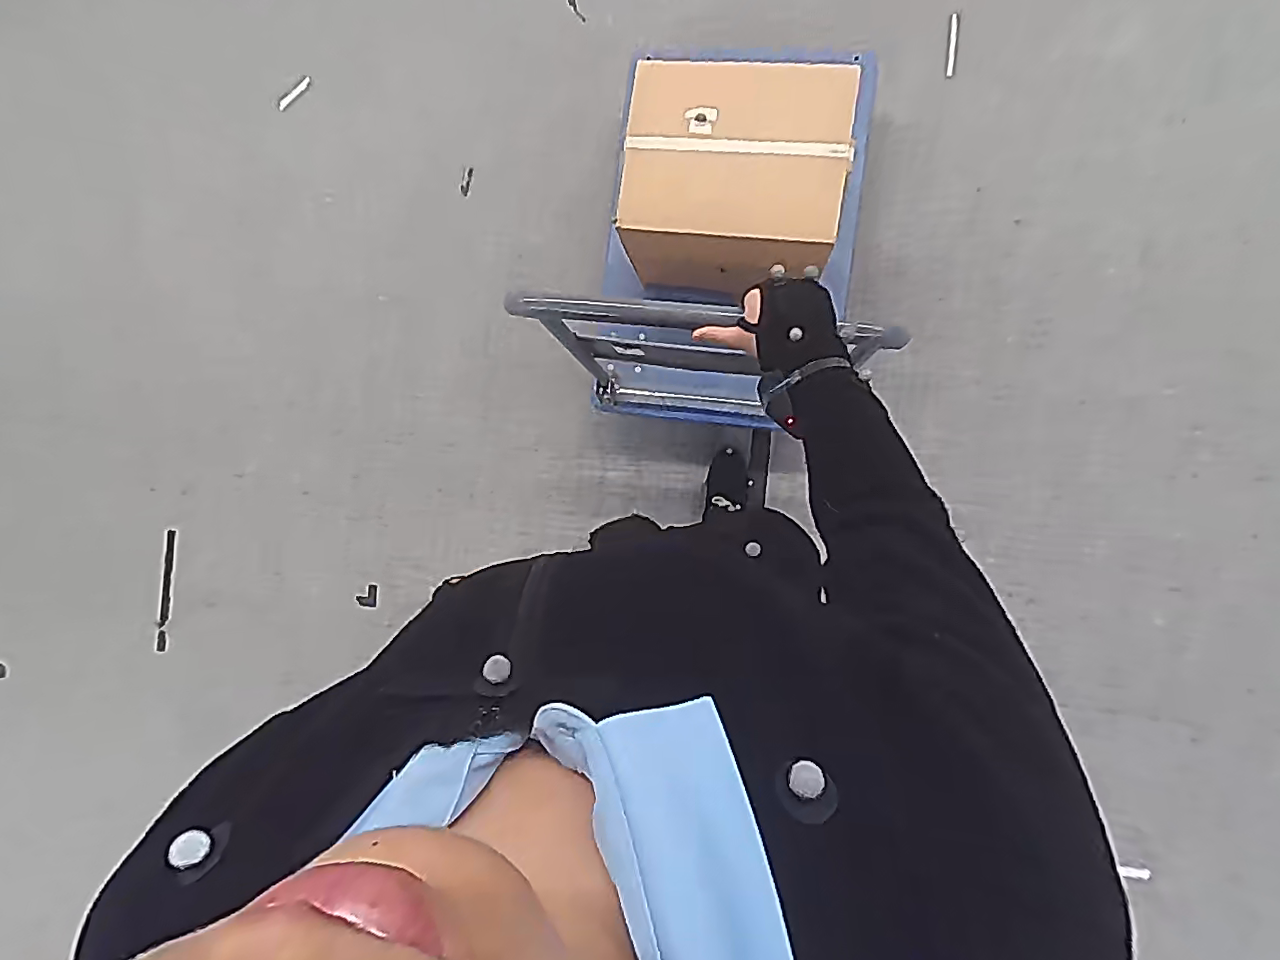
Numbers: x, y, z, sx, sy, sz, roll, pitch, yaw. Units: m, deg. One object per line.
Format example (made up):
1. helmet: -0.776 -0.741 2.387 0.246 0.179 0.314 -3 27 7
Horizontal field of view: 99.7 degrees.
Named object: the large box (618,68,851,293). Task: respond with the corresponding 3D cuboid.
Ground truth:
1. large box: 0.196 -0.604 1.146 0.408 0.320 0.320 8 91 10
